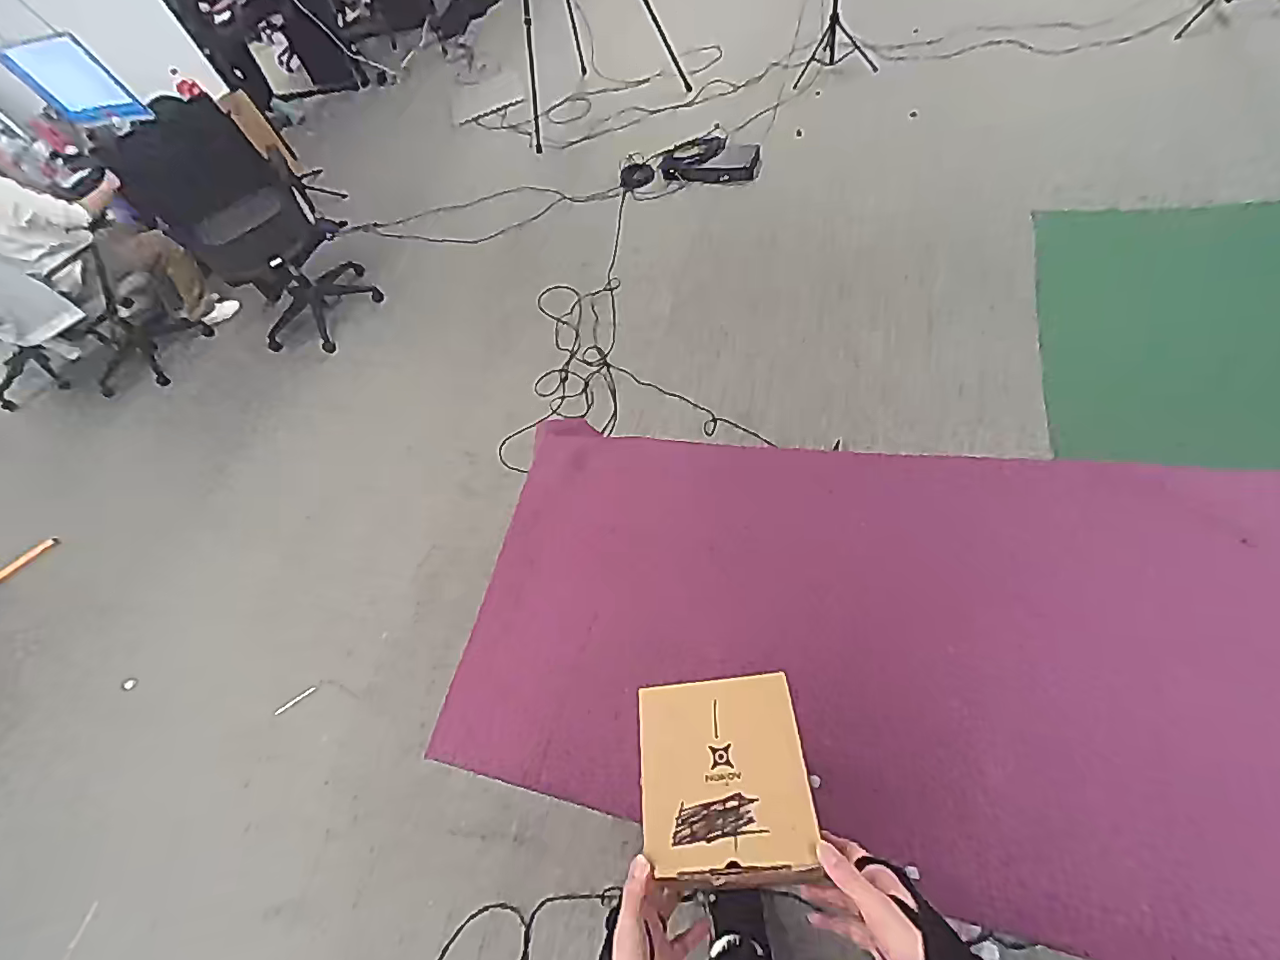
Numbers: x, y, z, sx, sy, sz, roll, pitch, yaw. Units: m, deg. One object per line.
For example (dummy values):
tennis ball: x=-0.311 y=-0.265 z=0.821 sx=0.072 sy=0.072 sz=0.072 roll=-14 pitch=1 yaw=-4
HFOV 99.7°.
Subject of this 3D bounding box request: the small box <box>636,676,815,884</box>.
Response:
small box: x=0.093 y=0.340 z=0.603 sx=0.168 sy=0.176 sz=0.179 roll=-8 pitch=49 yaw=7
